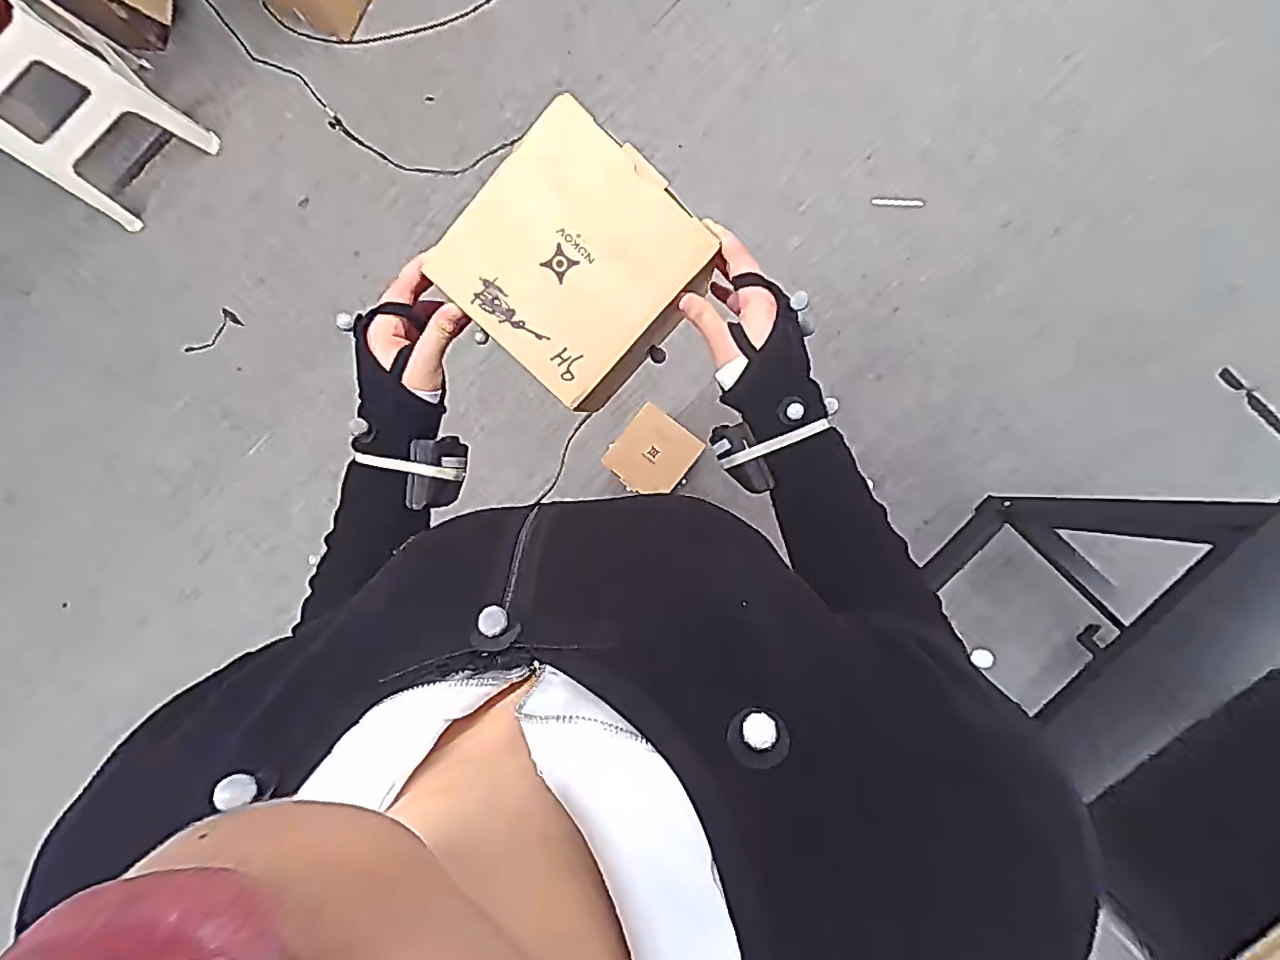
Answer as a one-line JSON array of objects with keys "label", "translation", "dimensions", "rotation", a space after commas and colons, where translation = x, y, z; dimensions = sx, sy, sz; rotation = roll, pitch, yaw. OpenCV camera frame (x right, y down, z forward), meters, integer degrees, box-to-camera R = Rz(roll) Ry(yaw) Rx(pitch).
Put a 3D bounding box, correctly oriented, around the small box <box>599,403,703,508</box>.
[{"label": "small box", "translation": [0.028, -0.050, 1.266], "dimensions": [0.168, 0.176, 0.179], "rotation": [38, 89, 3]}]
